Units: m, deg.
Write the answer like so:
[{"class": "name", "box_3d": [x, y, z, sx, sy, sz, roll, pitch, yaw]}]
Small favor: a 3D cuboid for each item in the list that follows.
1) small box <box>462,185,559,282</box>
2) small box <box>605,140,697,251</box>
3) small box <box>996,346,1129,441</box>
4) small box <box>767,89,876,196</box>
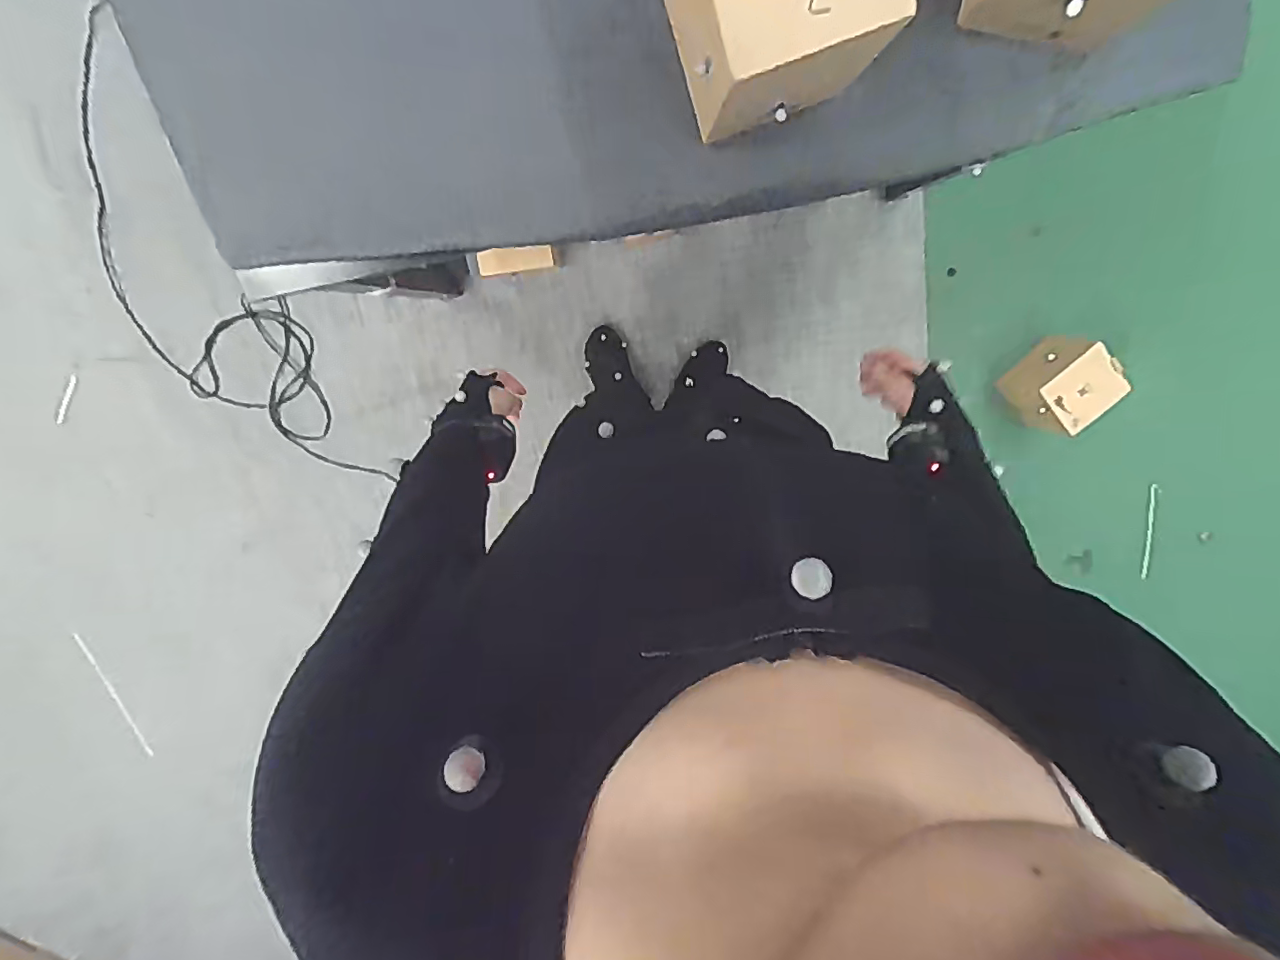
[{"class": "small box", "box_3d": [-0.286, -0.553, 1.235, 0.168, 0.176, 0.179, -8, 107, 0]}, {"class": "small box", "box_3d": [0.023, -0.630, 1.224, 0.168, 0.176, 0.179, -15, 106, 1]}, {"class": "small box", "box_3d": [1.081, -0.230, 1.396, 0.179, 0.176, 0.168, -43, 104, 9]}, {"class": "small box", "box_3d": [0.394, -0.743, 1.206, 0.179, 0.176, 0.168, 0, 107, -4]}]
